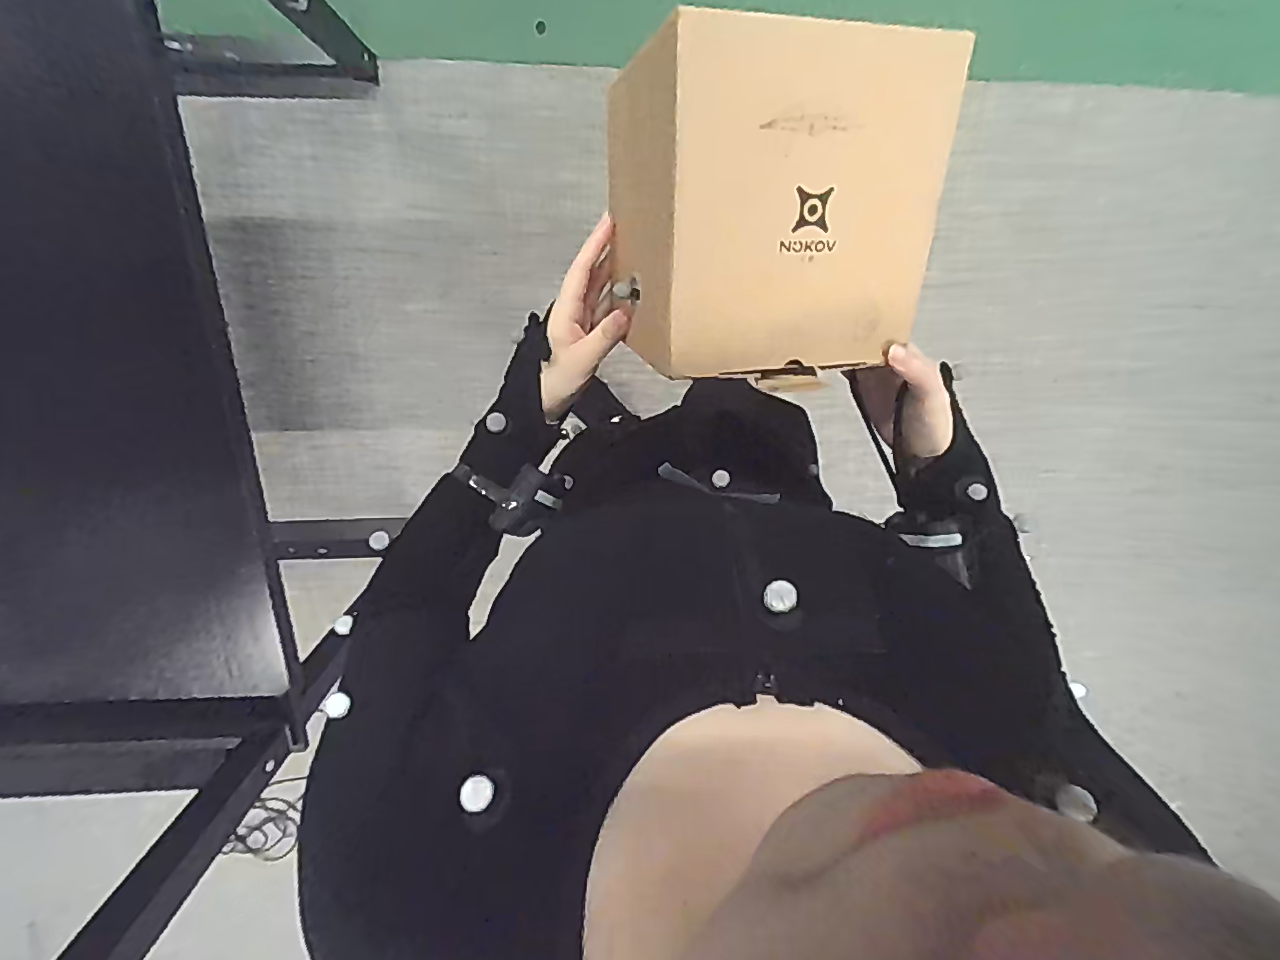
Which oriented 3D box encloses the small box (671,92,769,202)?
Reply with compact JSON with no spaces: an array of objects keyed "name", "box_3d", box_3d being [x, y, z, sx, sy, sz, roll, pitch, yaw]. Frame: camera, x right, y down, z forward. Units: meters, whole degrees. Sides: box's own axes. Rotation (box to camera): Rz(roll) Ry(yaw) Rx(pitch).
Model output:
[{"name":"small box","box_3d":[0.166,-0.725,1.195,0.179,0.176,0.168,3,108,-5]}]
